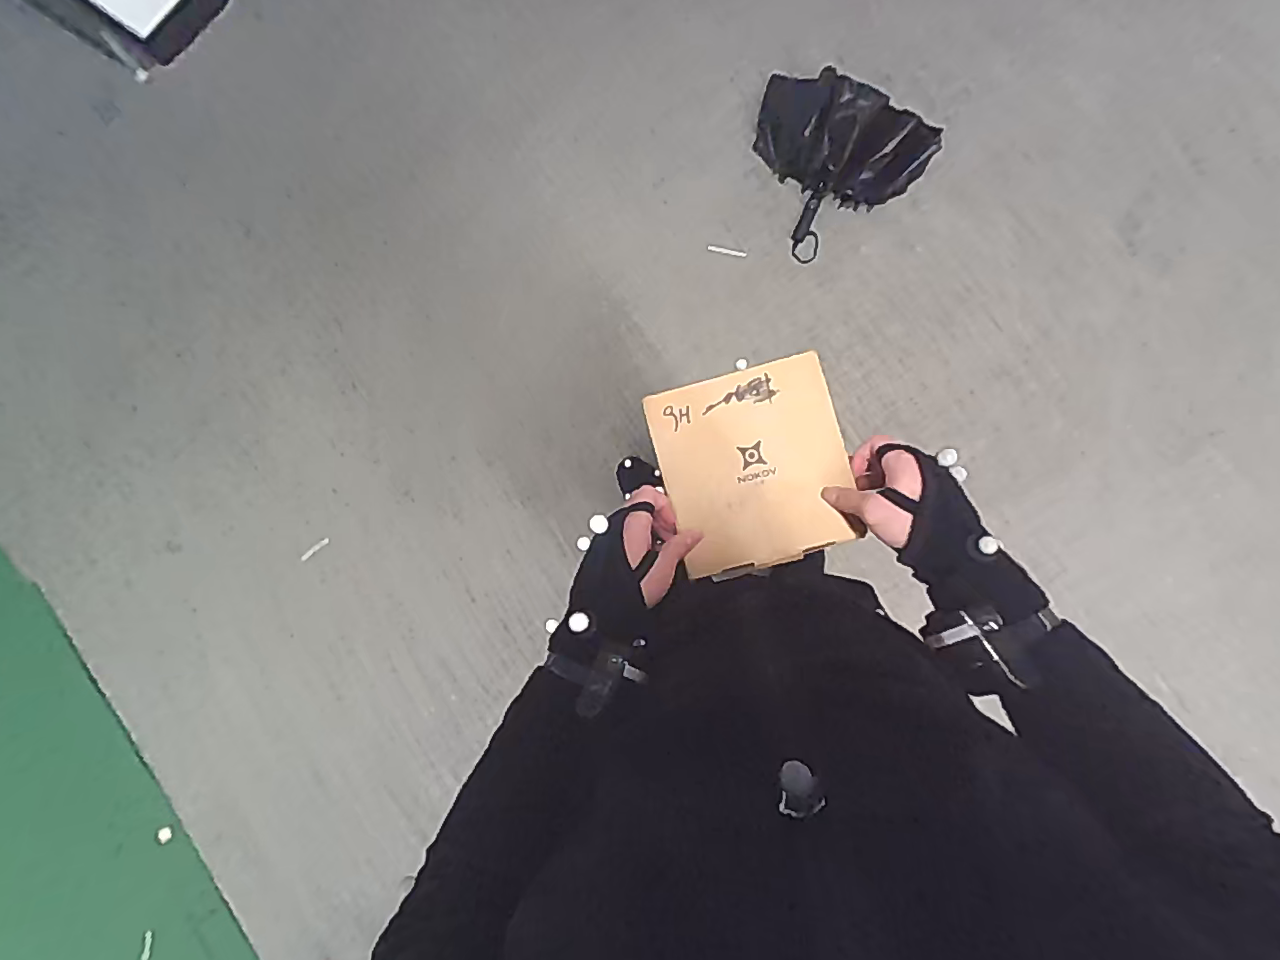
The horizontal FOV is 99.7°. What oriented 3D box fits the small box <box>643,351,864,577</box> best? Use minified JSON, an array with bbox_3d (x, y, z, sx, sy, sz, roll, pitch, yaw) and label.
[{"bbox_3d":[0.106,-0.013,0.566,0.168,0.176,0.179,-15,88,2],"label":"small box"}]
